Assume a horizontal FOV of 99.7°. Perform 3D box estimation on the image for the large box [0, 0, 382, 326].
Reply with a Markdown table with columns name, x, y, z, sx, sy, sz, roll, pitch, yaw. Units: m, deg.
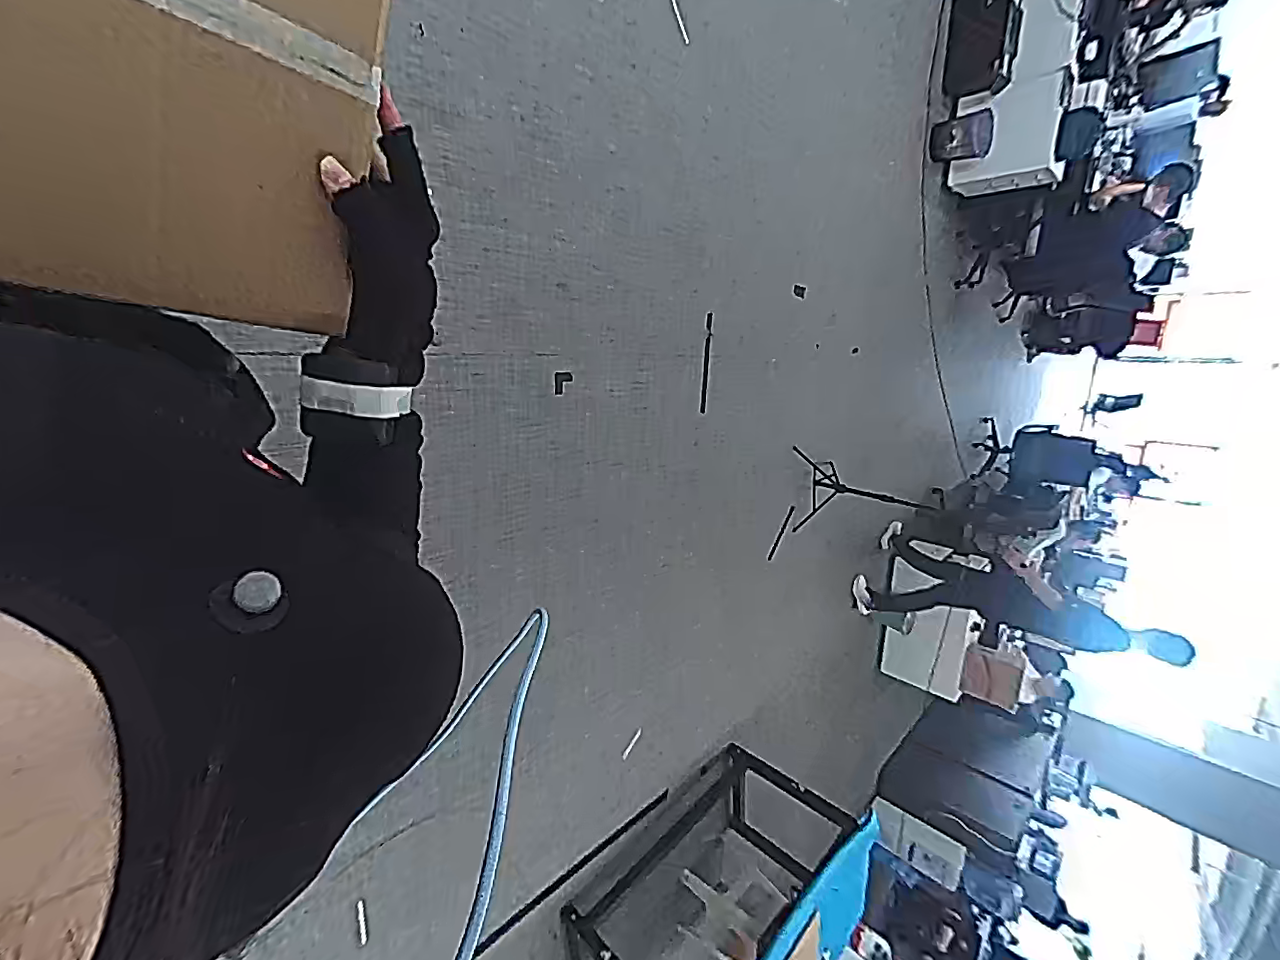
| name | x | y | z | sx | sy | sz | roll | pitch | yaw |
| --- | --- | --- | --- | --- | --- | --- | --- | --- | --- |
| large box | -0.408 | -0.307 | 0.299 | 0.408 | 0.320 | 0.320 | -1 | 117 | -44 |
